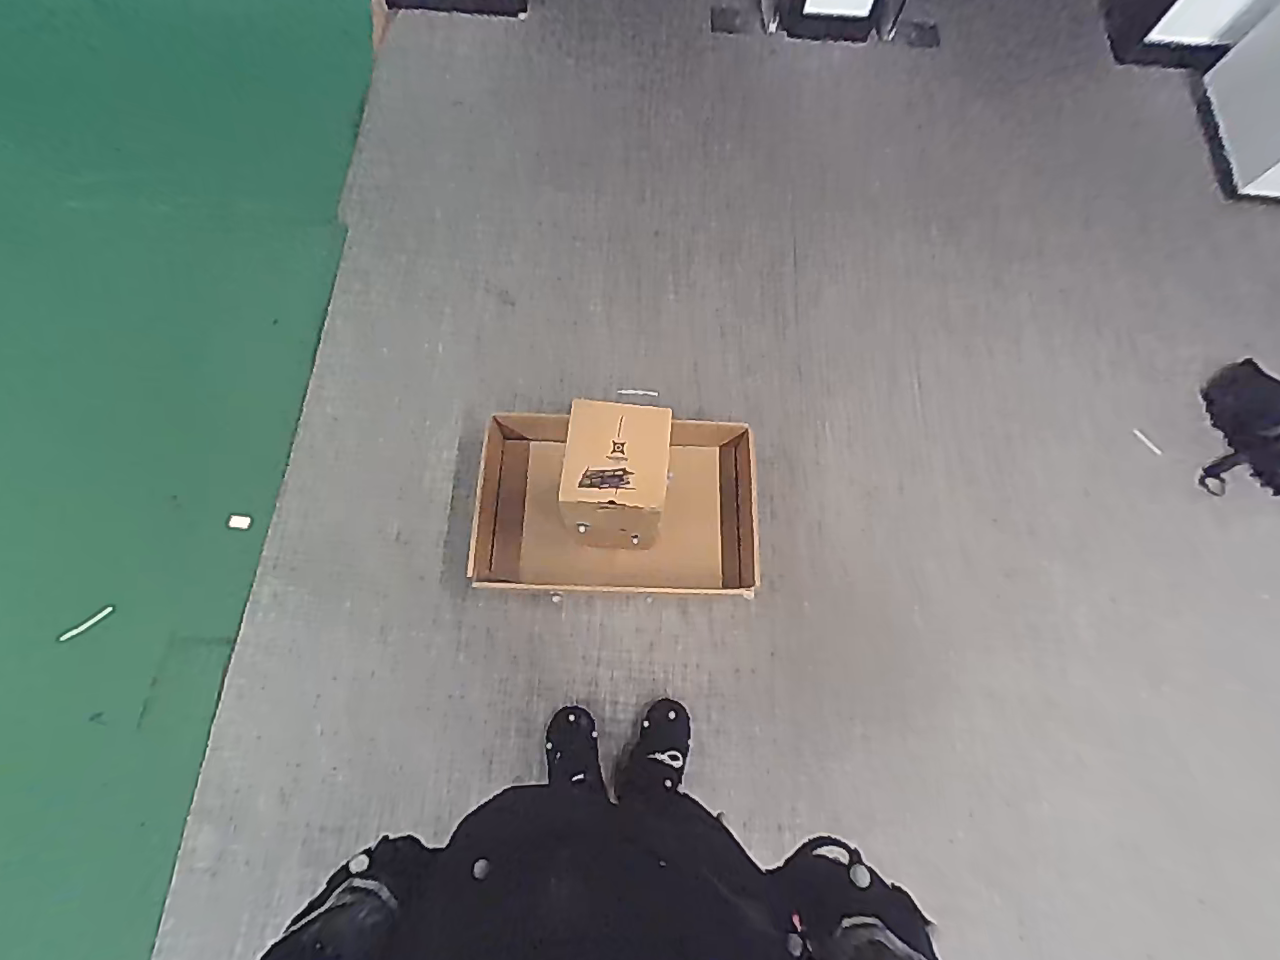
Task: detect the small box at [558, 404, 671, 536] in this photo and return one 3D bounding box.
[{"bbox_3d":[-0.041,-0.009,0.935,0.168,0.176,0.179,6,70,-1],"label":"small box"}]

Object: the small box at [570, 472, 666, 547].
[{"bbox_3d":[-0.043,0.037,1.076,0.179,0.176,0.168,2,72,-3],"label":"small box"}]
